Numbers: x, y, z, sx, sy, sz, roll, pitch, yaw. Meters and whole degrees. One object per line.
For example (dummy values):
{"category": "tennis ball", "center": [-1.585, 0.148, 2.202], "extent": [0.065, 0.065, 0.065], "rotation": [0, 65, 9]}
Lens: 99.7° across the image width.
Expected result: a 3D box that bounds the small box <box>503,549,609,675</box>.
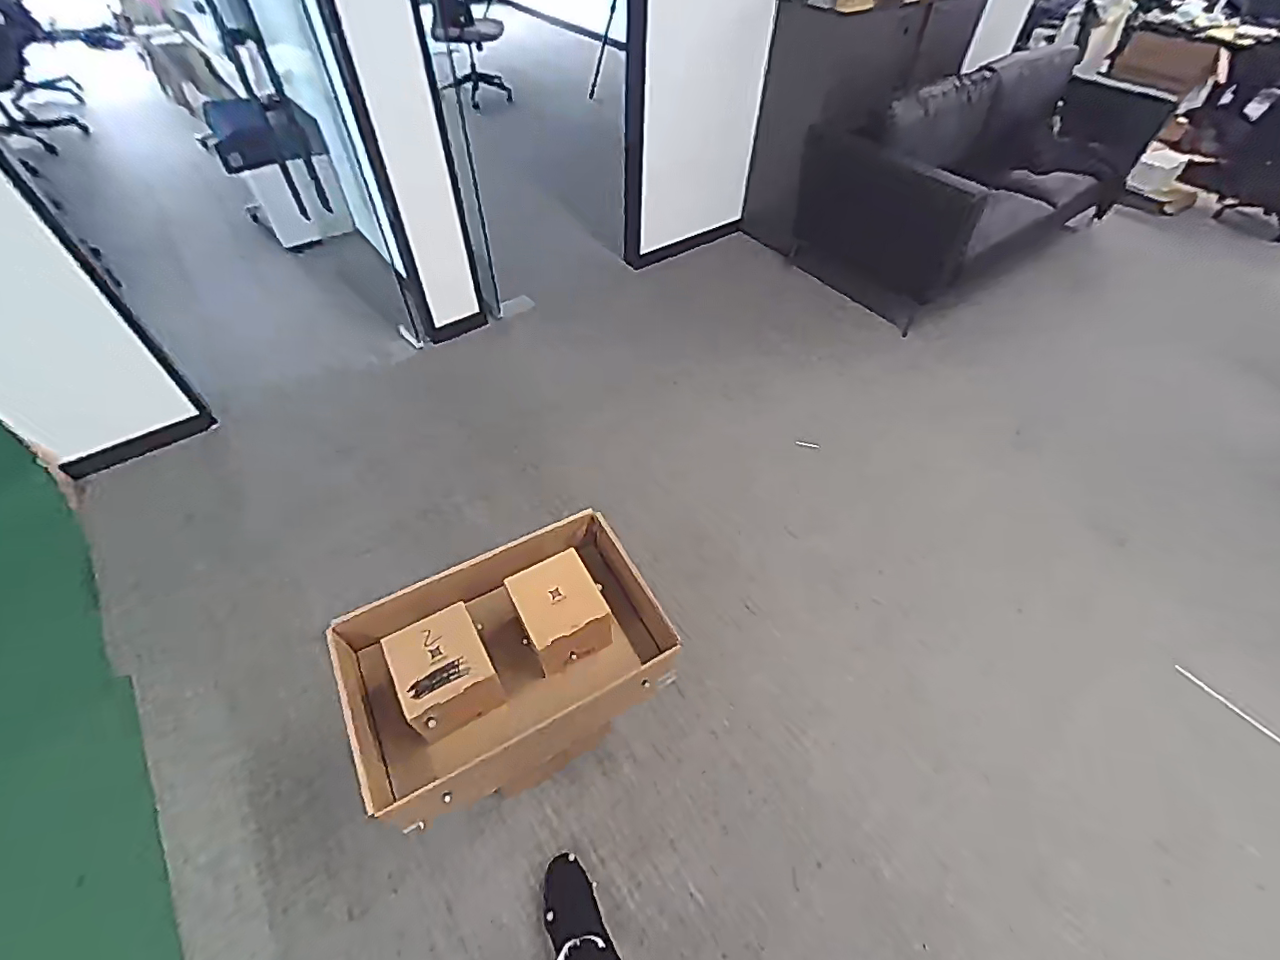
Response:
{"category": "small box", "center": [-0.180, 0.288, 1.167], "extent": [0.168, 0.176, 0.179], "rotation": [-23, 58, -20]}
